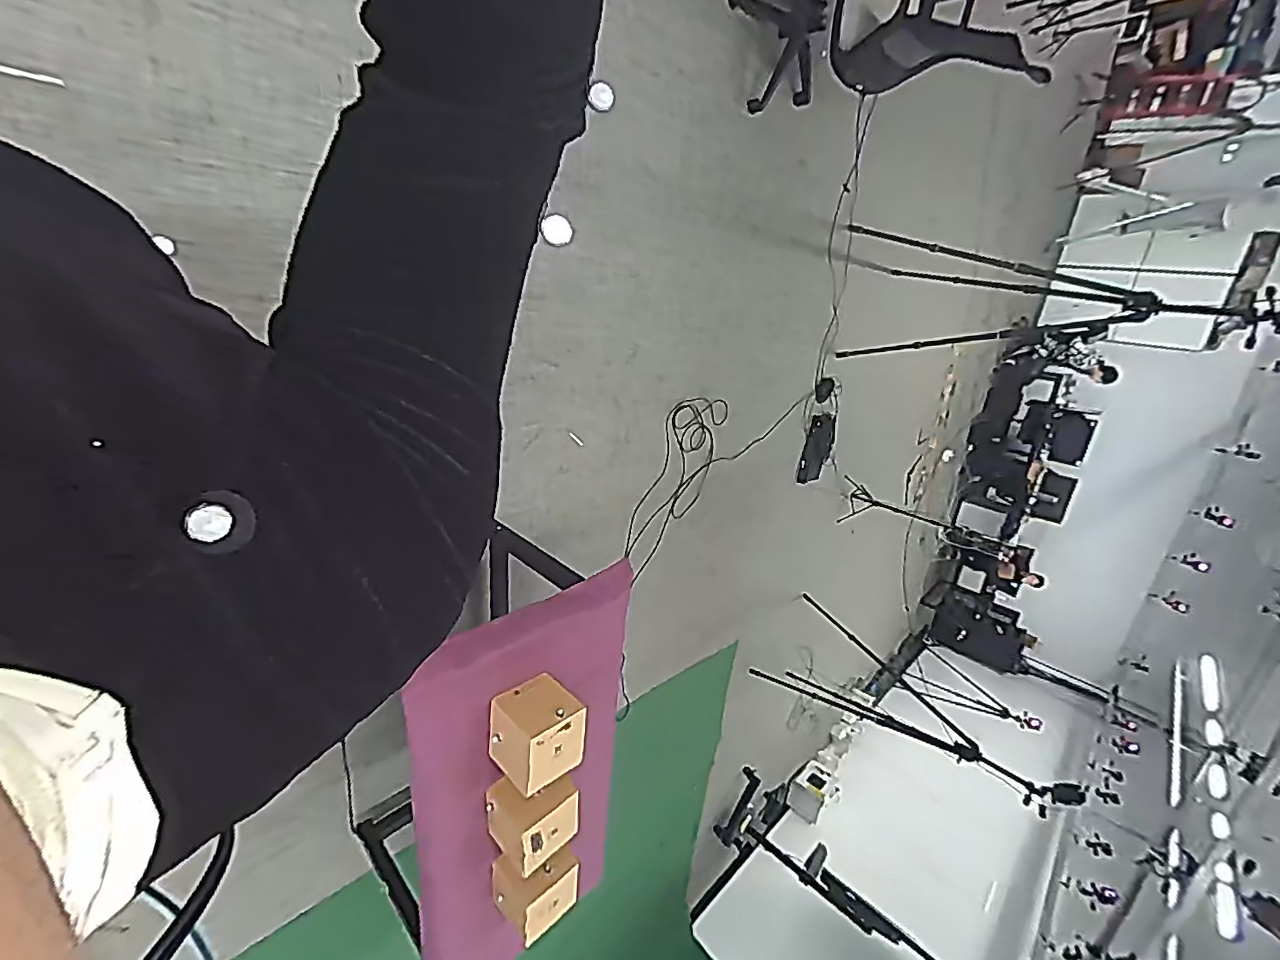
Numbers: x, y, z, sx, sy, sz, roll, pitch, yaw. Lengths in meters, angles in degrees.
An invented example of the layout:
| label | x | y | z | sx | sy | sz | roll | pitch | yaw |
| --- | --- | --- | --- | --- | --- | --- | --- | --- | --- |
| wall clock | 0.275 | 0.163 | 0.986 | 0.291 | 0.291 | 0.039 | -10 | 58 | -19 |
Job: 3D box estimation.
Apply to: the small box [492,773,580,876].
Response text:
| label | x | y | z | sx | sy | sz | roll | pitch | yaw |
| --- | --- | --- | --- | --- | --- | --- | --- | --- | --- |
| small box | -0.277 | 0.873 | 1.426 | 0.179 | 0.176 | 0.168 | -20 | 121 | -43 |

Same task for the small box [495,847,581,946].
| label | x | y | z | sx | sy | sz | roll | pitch | yaw |
| --- | --- | --- | --- | --- | --- | --- | --- | --- | --- |
| small box | -0.290 | 1.139 | 1.536 | 0.179 | 0.176 | 0.168 | -15 | 118 | -44 |

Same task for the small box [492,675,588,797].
| label | x | y | z | sx | sy | sz | roll | pitch | yaw |
| --- | --- | --- | --- | --- | --- | --- | --- | --- | --- |
| small box | -0.251 | 0.622 | 1.337 | 0.168 | 0.176 | 0.179 | -13 | 118 | -45 |
